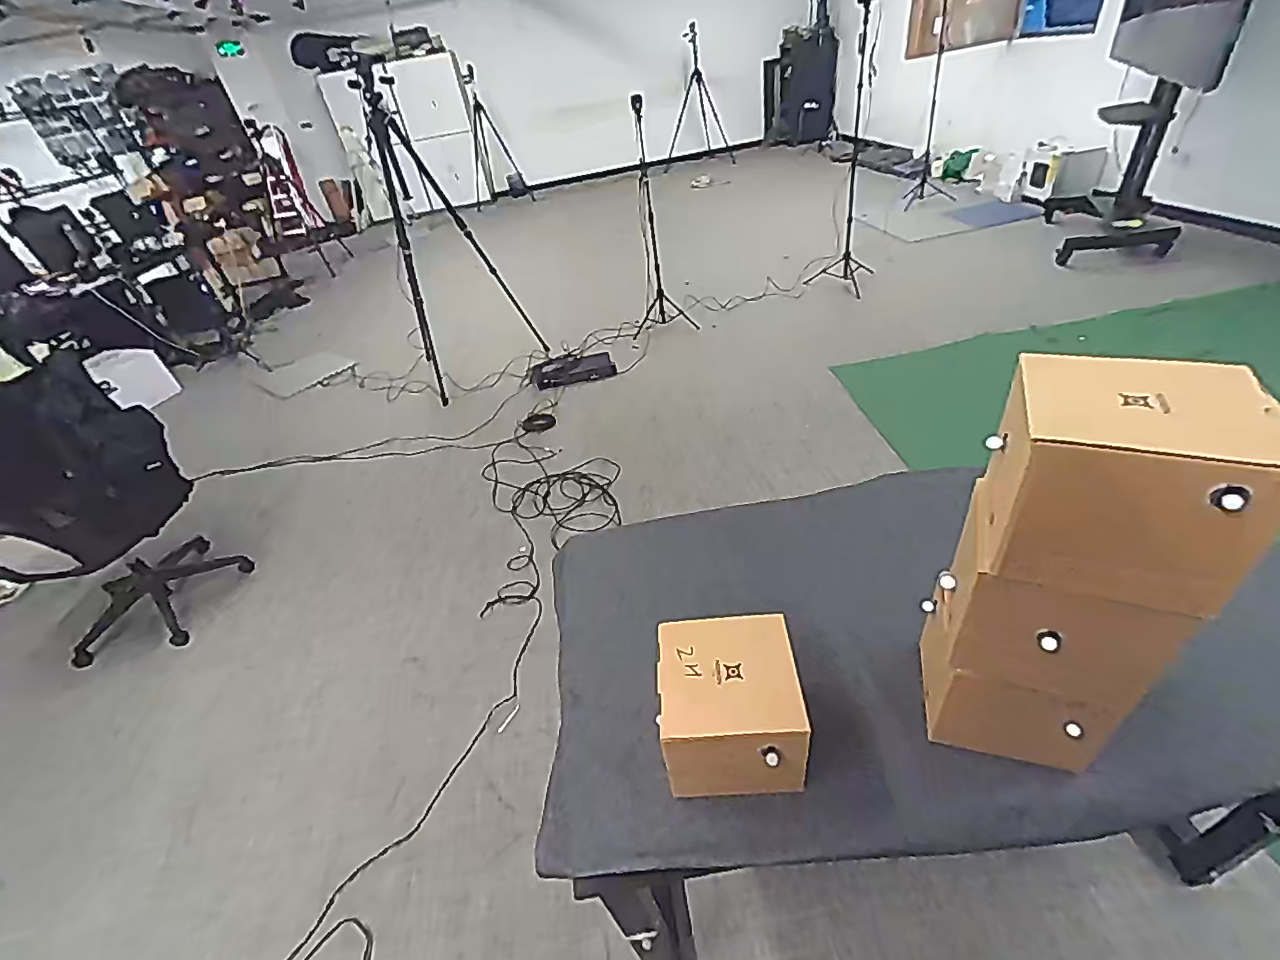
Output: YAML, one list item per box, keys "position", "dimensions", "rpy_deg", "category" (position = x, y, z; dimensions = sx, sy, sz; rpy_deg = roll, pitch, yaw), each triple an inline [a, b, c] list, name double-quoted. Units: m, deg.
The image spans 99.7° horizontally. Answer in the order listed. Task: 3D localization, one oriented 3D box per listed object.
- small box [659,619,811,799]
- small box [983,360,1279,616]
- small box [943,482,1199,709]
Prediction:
- position: [0.122, 0.311, 0.732]
  dimensions: [0.179, 0.176, 0.168]
  rpy_deg: [-6, 38, 6]
  category: "small box"
- position: [0.440, 0.002, 0.512]
  dimensions: [0.179, 0.176, 0.168]
  rpy_deg: [10, 42, 25]
  category: "small box"
- position: [0.462, 0.128, 0.612]
  dimensions: [0.179, 0.176, 0.168]
  rpy_deg: [10, 41, 26]
  category: "small box"
